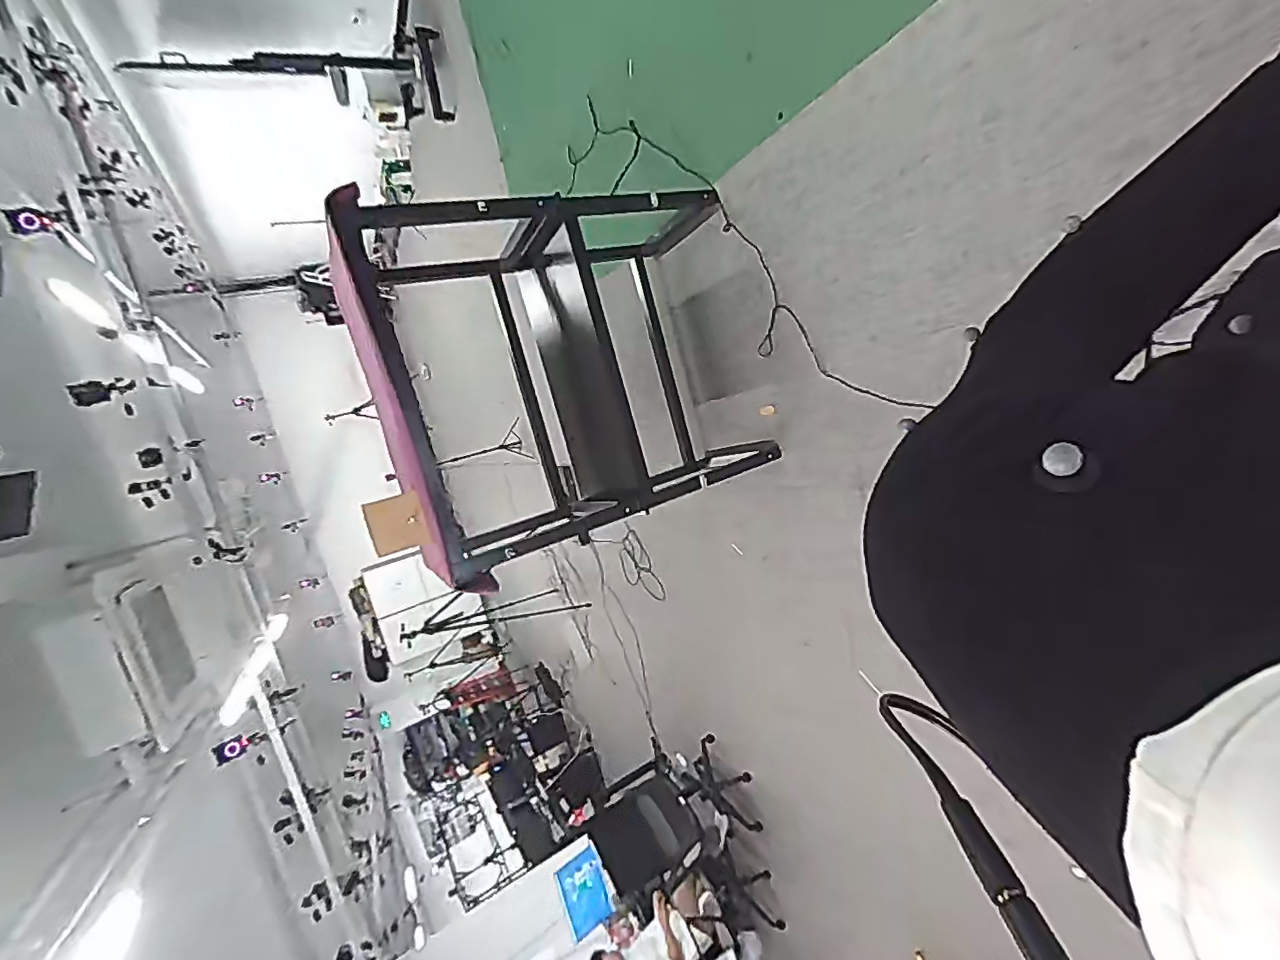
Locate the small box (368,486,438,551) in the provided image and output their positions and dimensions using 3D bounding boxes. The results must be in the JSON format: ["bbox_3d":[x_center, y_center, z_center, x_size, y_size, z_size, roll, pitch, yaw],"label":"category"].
[{"bbox_3d":[-0.777,0.121,1.768,0.168,0.176,0.179,-8,98,64],"label":"small box"}]
